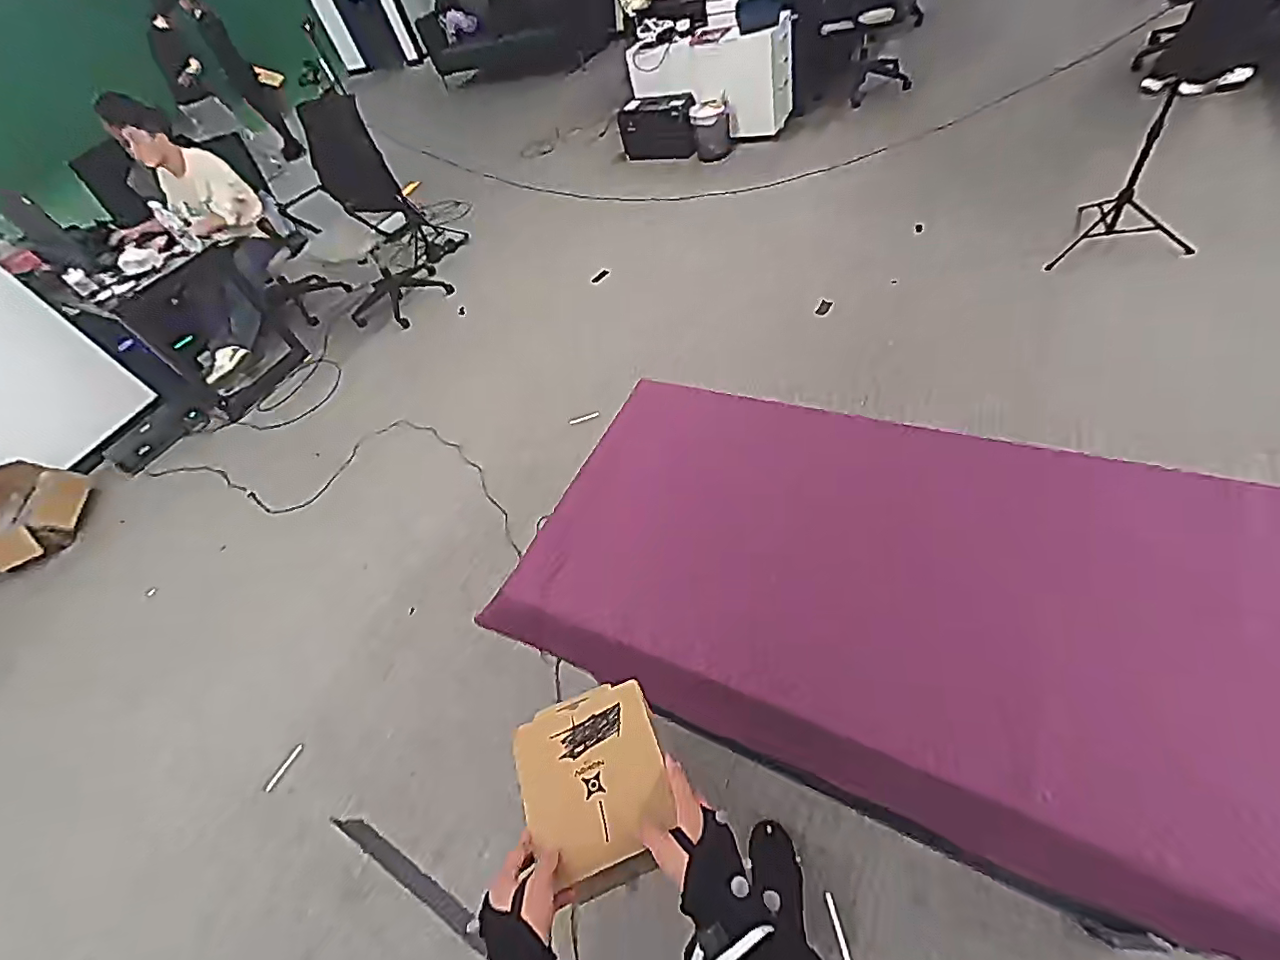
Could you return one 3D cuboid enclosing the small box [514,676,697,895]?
[{"bbox_3d":[-0.039,0.379,0.669,0.168,0.176,0.179,-21,50,-5],"label":"small box"}]
